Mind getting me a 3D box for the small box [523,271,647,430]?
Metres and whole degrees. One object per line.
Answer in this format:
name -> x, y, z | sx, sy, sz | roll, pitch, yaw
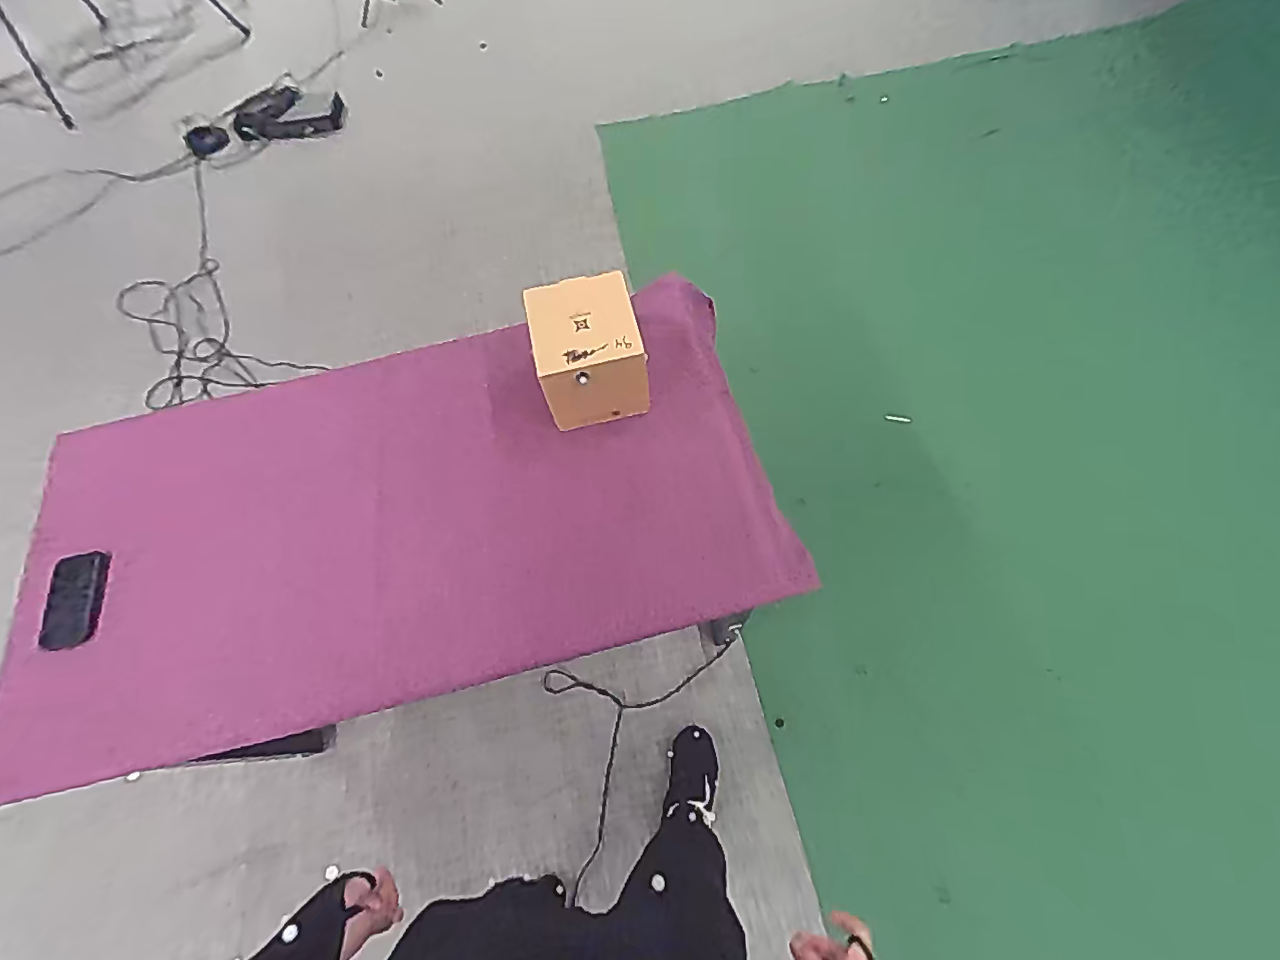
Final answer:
small box -> -0.088, -0.211, 0.908 | 0.168, 0.176, 0.179 | -14, 65, -1
